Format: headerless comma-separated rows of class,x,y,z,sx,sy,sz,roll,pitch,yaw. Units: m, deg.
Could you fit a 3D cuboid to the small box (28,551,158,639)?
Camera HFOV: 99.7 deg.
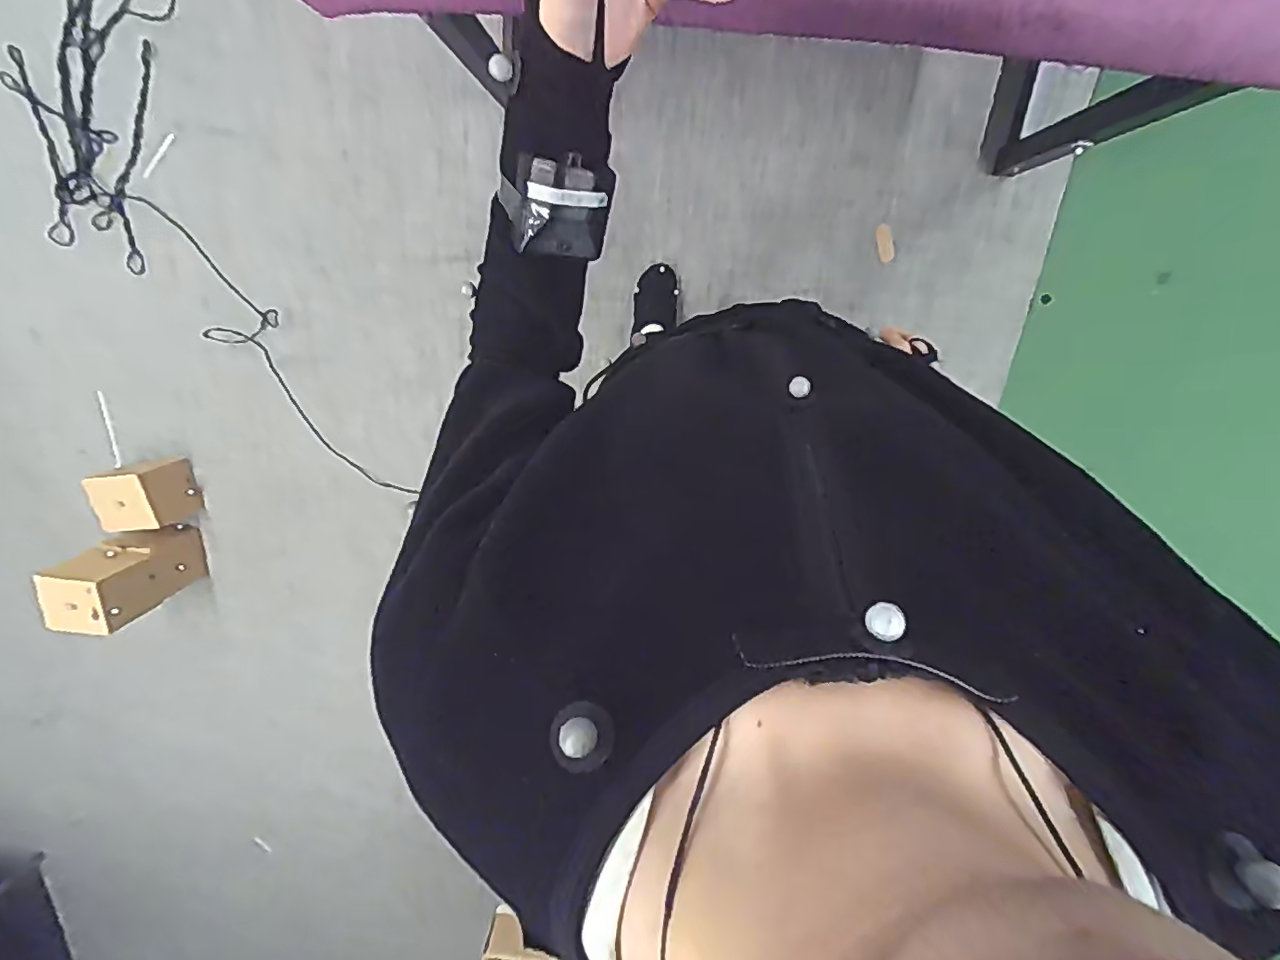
small box,-1.490,0.309,1.485,0.179,0.176,0.168,7,109,3

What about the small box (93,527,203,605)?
small box,-1.479,0.252,1.638,0.168,0.176,0.179,6,109,3

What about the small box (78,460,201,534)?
small box,-1.441,0.046,1.569,0.179,0.176,0.168,-4,109,5
